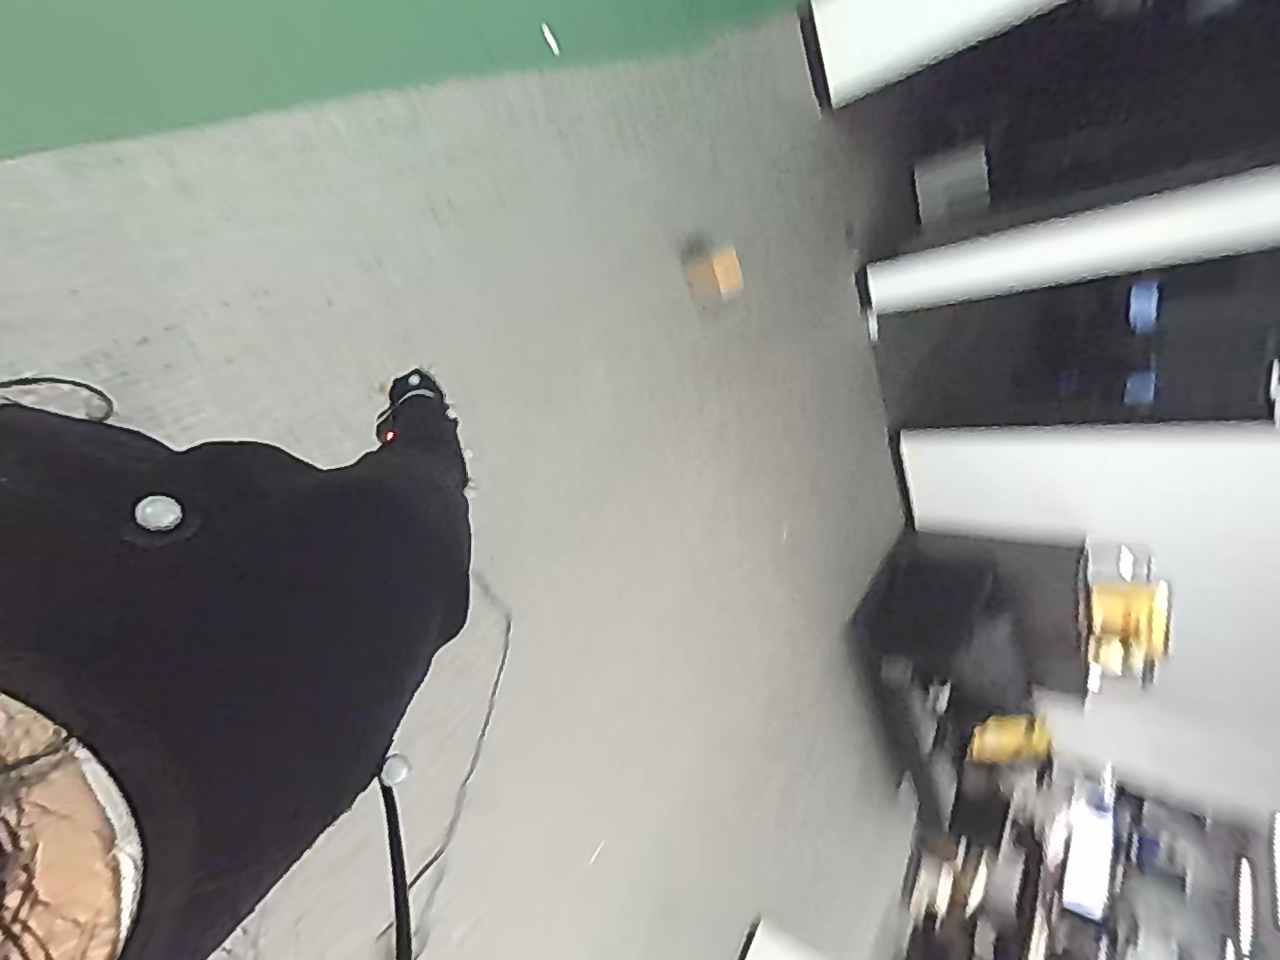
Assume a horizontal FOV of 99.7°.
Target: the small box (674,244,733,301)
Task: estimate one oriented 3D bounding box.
[{"bbox_3d":[0.266,-0.885,2.316,0.179,0.176,0.168,-41,121,-35],"label":"small box"}]
